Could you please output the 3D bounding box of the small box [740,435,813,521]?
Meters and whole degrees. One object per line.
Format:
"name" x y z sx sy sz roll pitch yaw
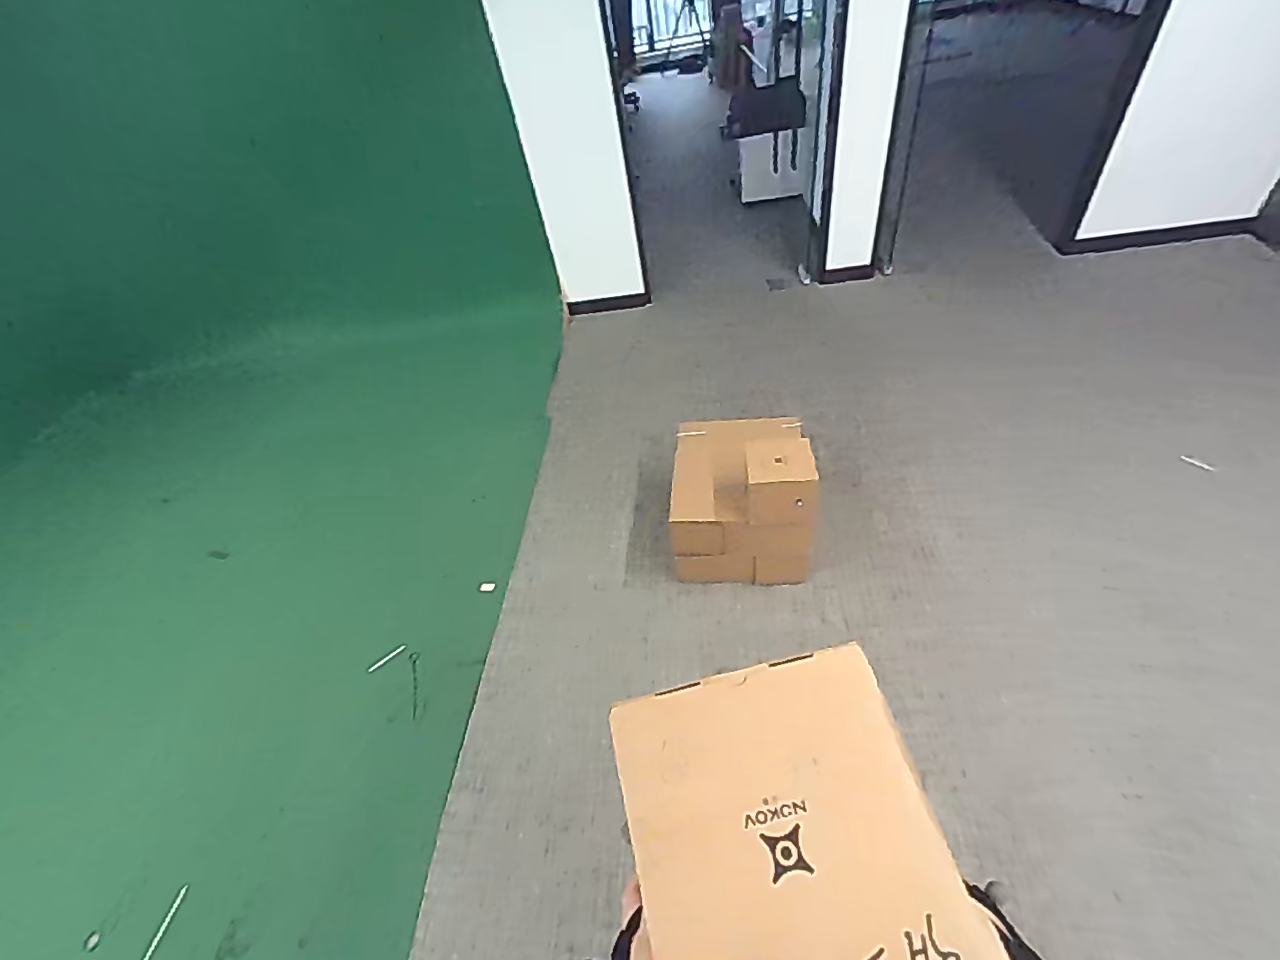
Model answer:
"small box" 0.366 -0.003 1.482 0.179 0.176 0.168 -4 44 9

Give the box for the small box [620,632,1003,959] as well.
"small box" 0.088 0.227 0.370 0.168 0.176 0.179 -14 60 -2
